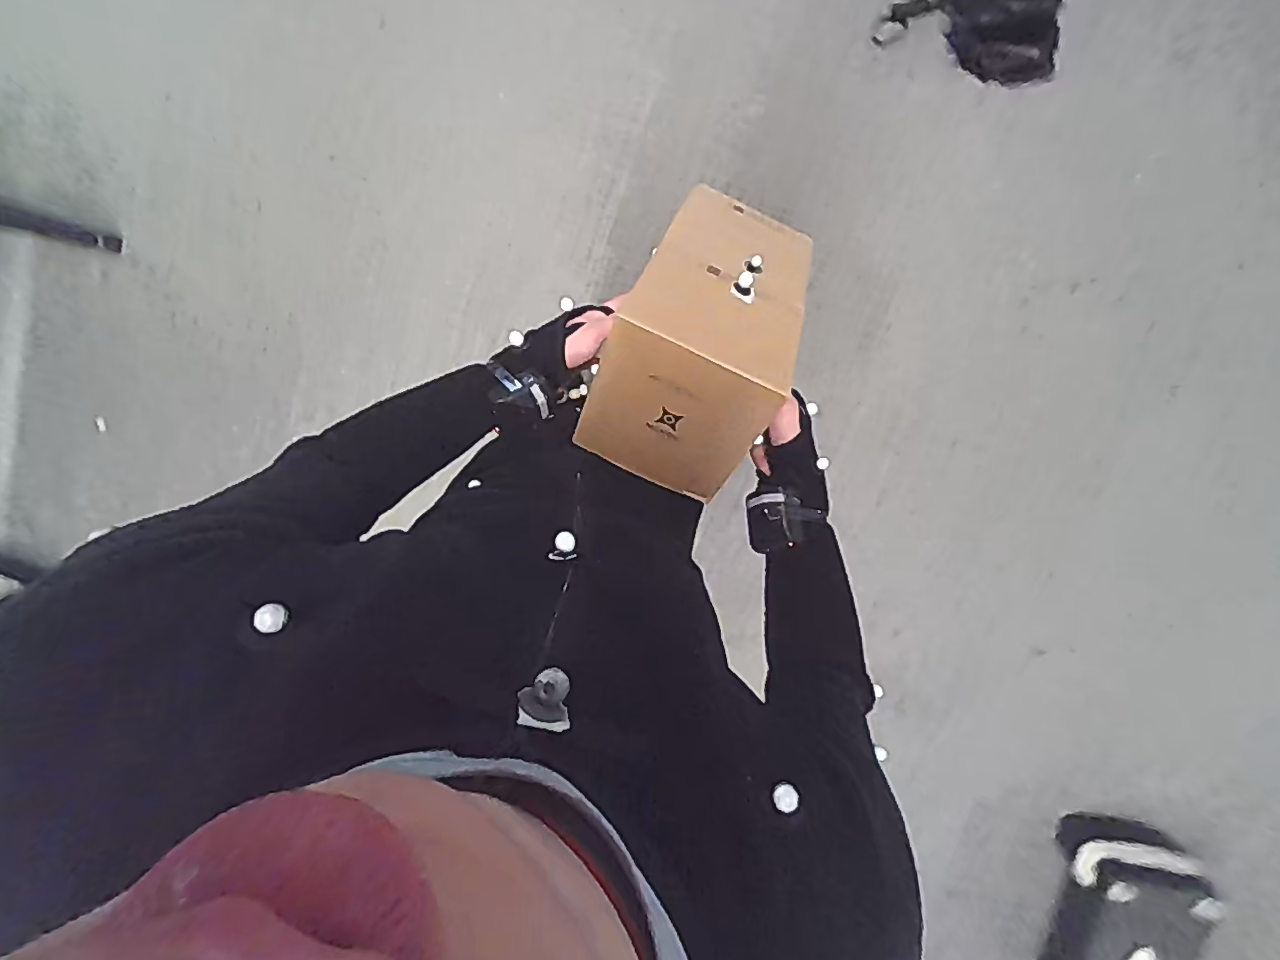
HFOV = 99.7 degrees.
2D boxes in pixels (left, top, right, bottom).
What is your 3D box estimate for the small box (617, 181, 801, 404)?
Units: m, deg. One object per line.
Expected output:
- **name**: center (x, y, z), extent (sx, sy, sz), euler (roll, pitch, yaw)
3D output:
- **small box**: center (0.090, -0.236, 0.685), extent (0.168, 0.176, 0.179), euler (23, 140, -3)
